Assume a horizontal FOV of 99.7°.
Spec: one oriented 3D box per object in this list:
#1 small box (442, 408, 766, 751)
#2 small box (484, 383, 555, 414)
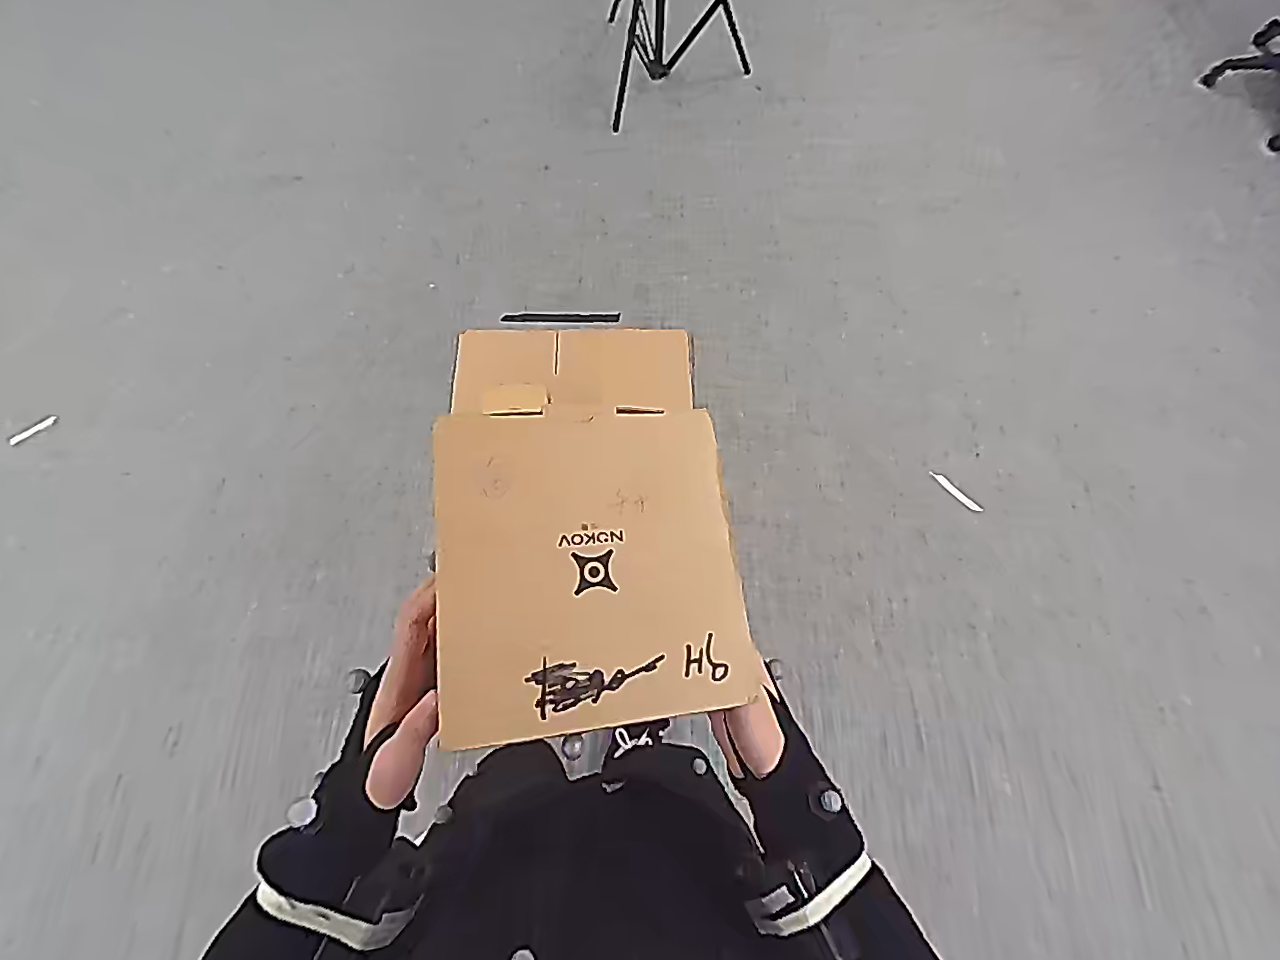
[{"bbox_3d":[-0.038,0.067,0.368,0.168,0.176,0.179,-4,73,-12],"label":"small box"},{"bbox_3d":[-0.316,-0.140,1.448,0.168,0.176,0.179,-2,71,-2],"label":"small box"}]
